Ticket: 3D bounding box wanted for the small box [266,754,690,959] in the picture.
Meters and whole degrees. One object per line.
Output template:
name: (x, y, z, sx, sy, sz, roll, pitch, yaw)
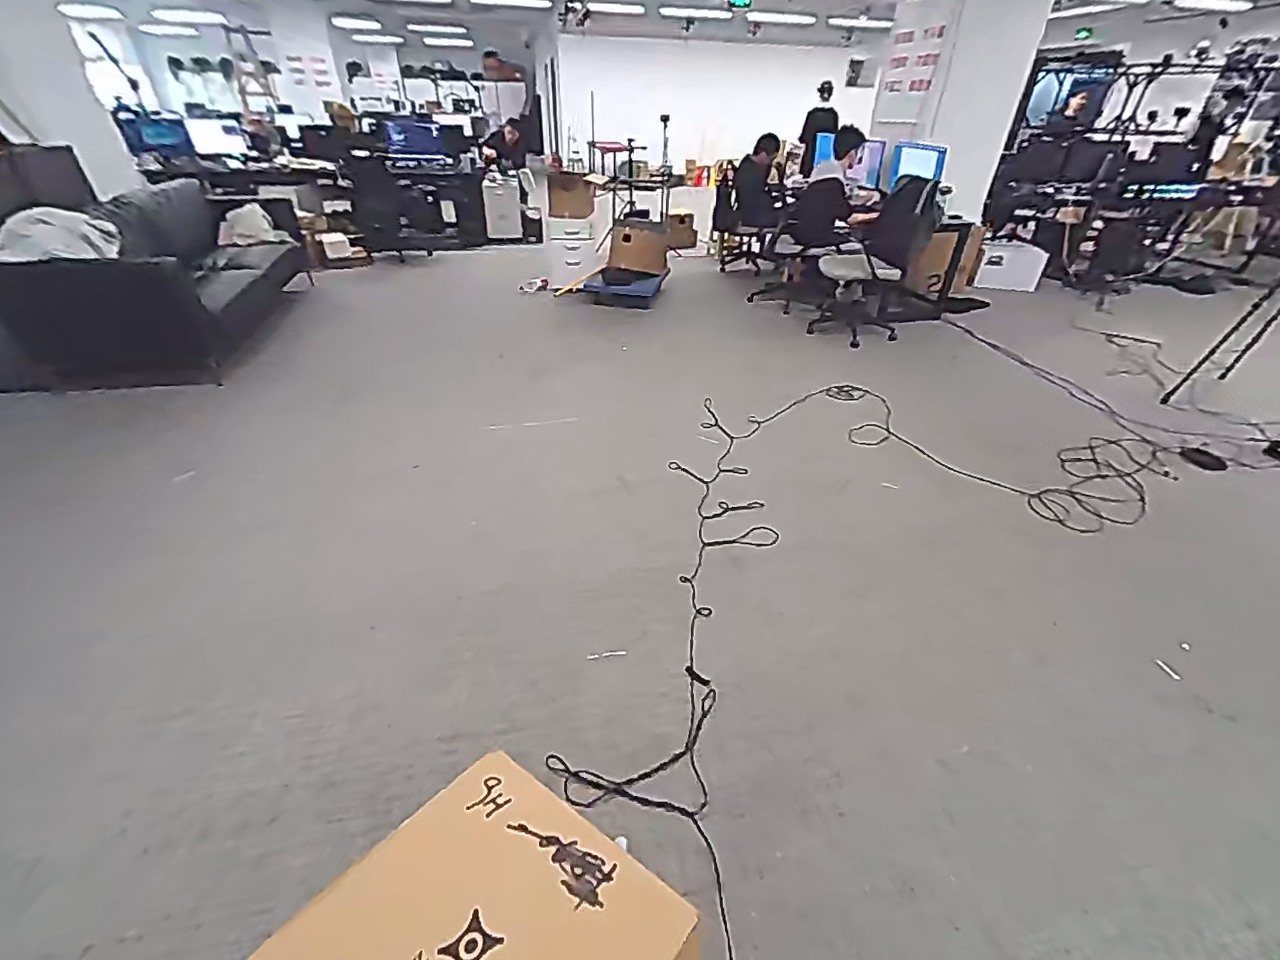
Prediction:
small box: (-0.079, 0.307, 0.297, 0.168, 0.176, 0.179, 14, 31, 36)
